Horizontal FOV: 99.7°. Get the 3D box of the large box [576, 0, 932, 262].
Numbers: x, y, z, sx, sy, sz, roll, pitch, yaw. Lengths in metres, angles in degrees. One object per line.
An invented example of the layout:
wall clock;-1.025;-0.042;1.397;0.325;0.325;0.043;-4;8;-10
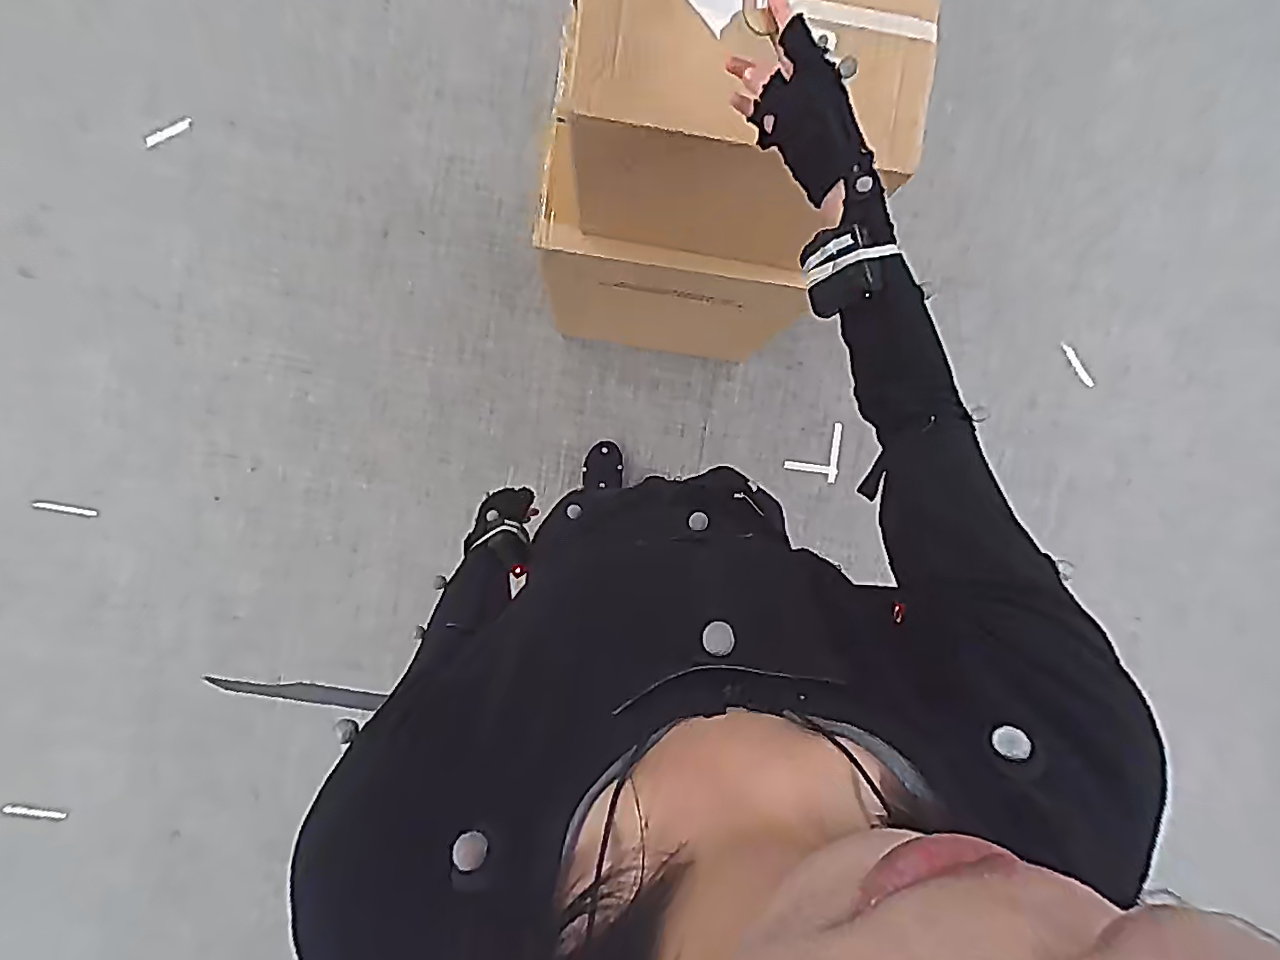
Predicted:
large box;0.125;-0.541;0.766;0.408;0.320;0.320;7;91;-5
